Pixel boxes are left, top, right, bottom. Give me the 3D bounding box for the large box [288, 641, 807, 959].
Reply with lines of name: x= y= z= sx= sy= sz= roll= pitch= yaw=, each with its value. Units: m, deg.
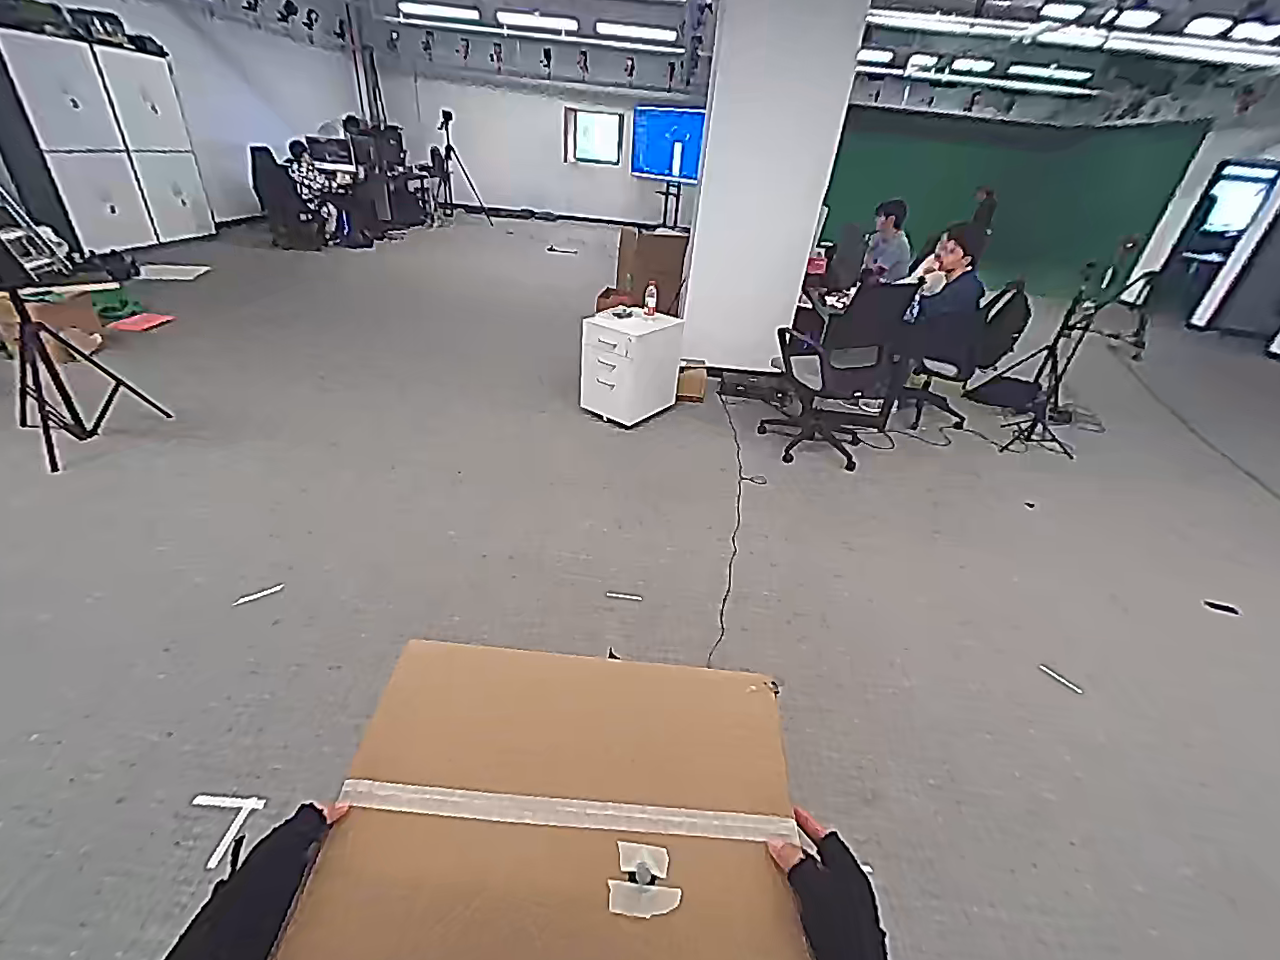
large box: x=-0.075 y=0.412 z=0.594 sx=0.408 sy=0.320 sz=0.320 roll=7 pitch=41 yaw=-1
